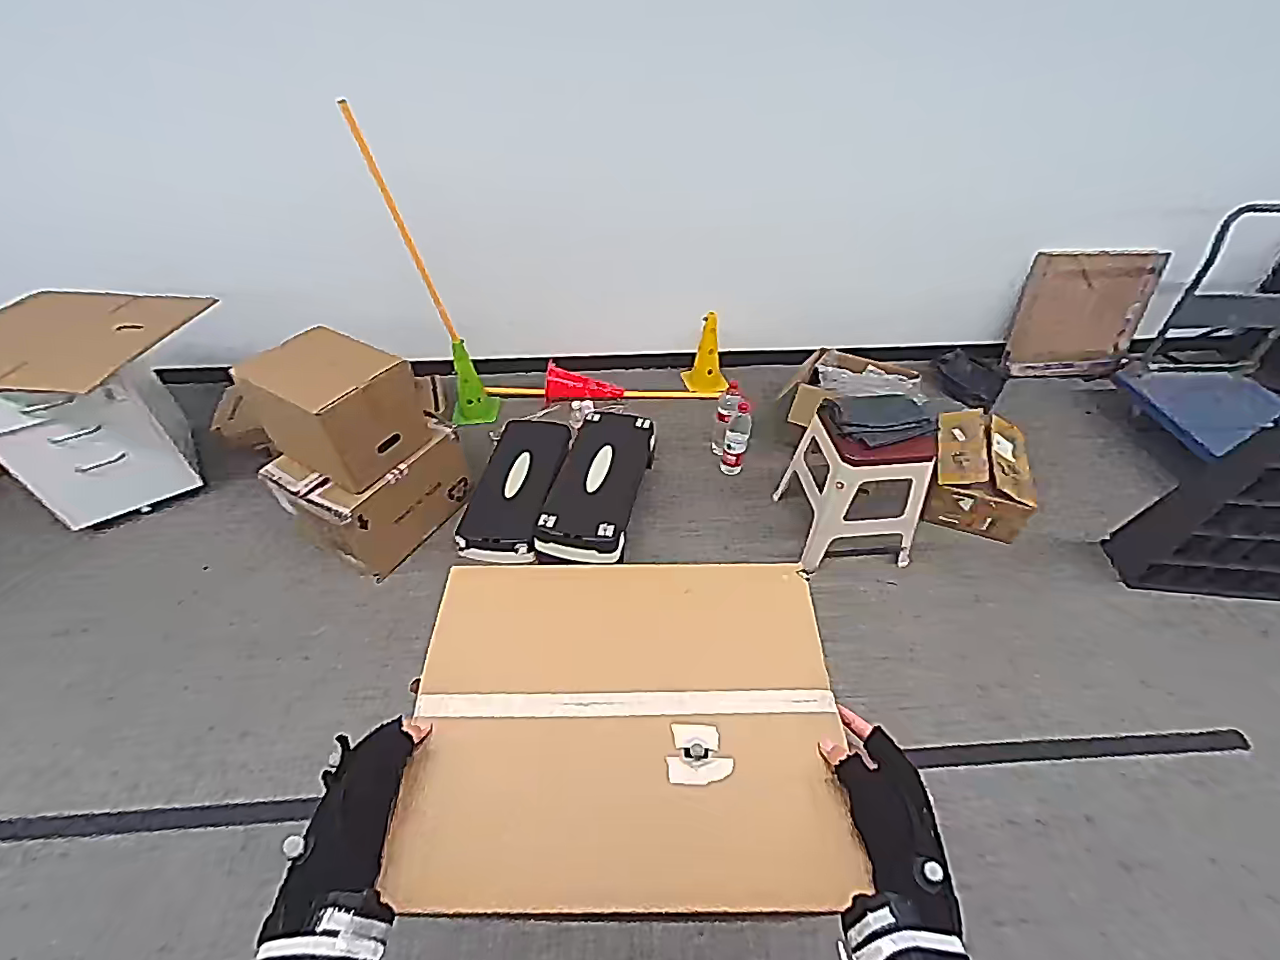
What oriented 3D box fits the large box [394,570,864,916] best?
[{"bbox_3d":[-0.011,0.322,0.658,0.408,0.320,0.320,0,50,0],"label":"large box"}]
